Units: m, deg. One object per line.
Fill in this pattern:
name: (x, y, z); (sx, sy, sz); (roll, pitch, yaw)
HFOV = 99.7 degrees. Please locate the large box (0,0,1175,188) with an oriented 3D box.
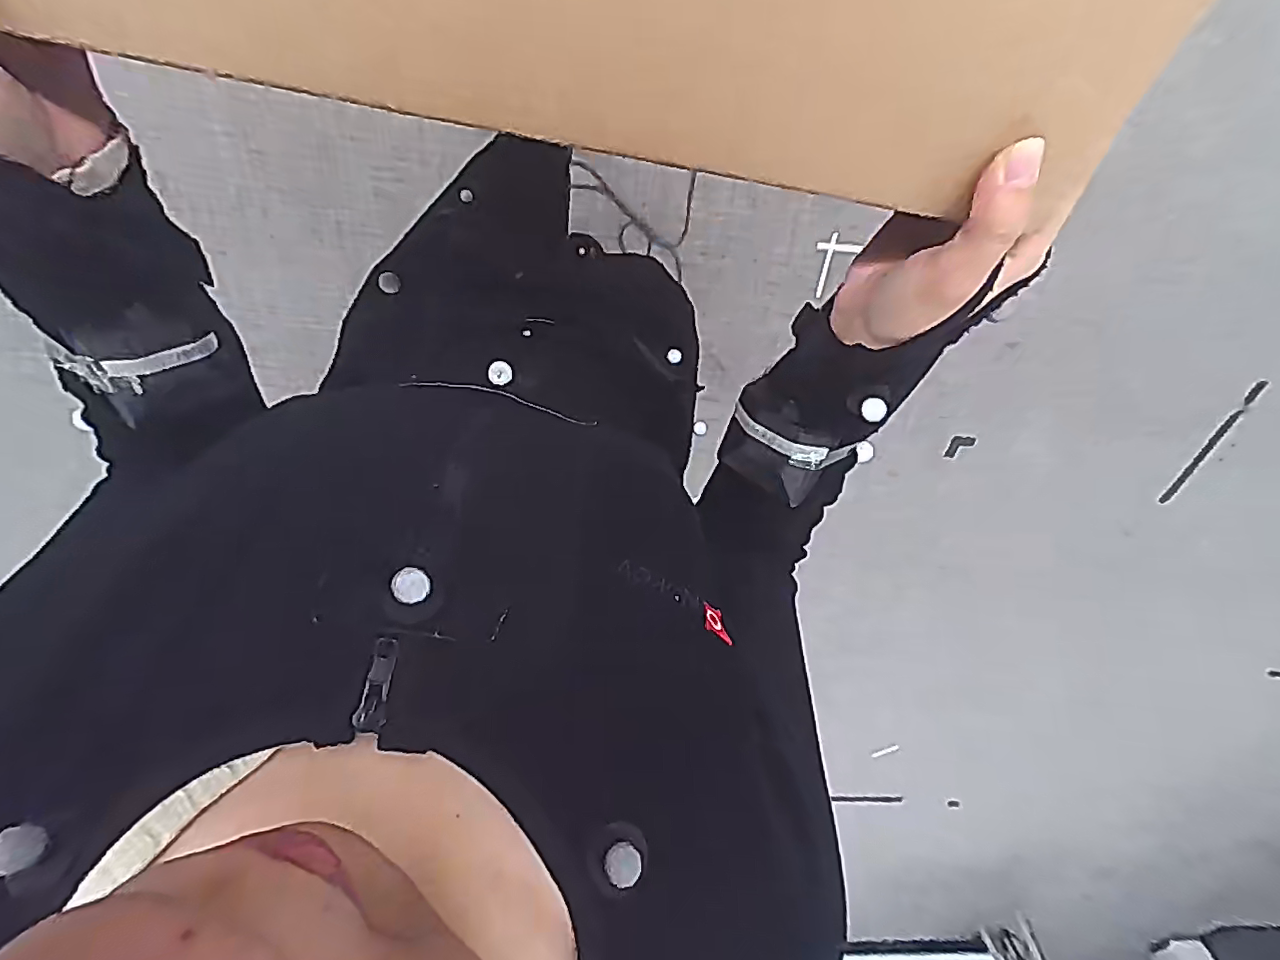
large box: (-0.011, -0.346, 0.180); (0.408, 0.320, 0.320); (6, 140, -7)
